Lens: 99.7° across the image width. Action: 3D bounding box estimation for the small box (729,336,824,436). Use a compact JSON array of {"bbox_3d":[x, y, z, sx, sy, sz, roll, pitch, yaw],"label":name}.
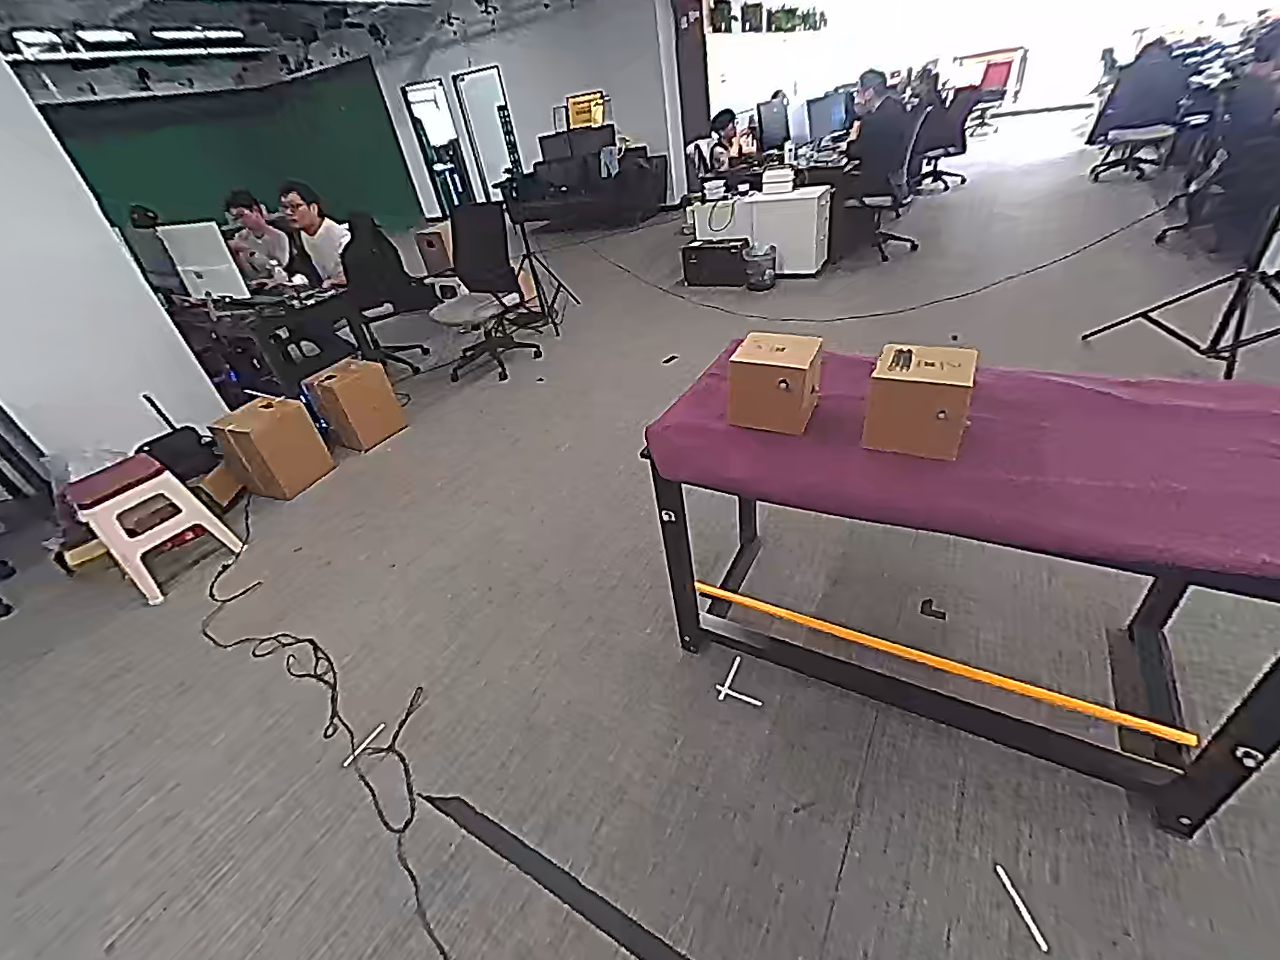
[{"bbox_3d":[0.317,-0.220,1.265,0.179,0.176,0.168,12,40,25],"label":"small box"}]
